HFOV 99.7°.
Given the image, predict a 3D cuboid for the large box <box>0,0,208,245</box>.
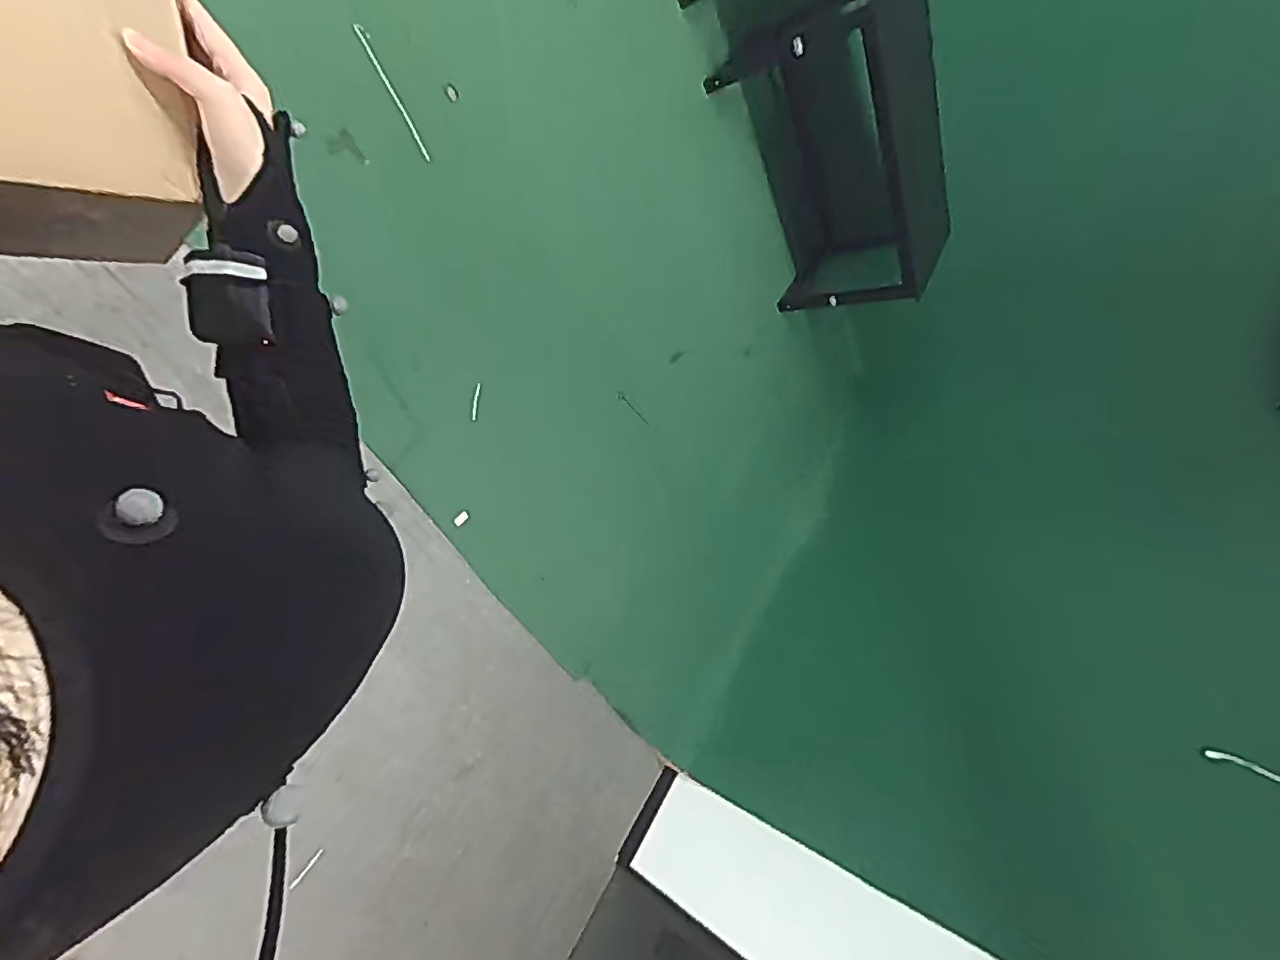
[{"bbox_3d":[-0.571,-0.340,0.322,0.408,0.320,0.320,-18,112,-45],"label":"large box"}]
